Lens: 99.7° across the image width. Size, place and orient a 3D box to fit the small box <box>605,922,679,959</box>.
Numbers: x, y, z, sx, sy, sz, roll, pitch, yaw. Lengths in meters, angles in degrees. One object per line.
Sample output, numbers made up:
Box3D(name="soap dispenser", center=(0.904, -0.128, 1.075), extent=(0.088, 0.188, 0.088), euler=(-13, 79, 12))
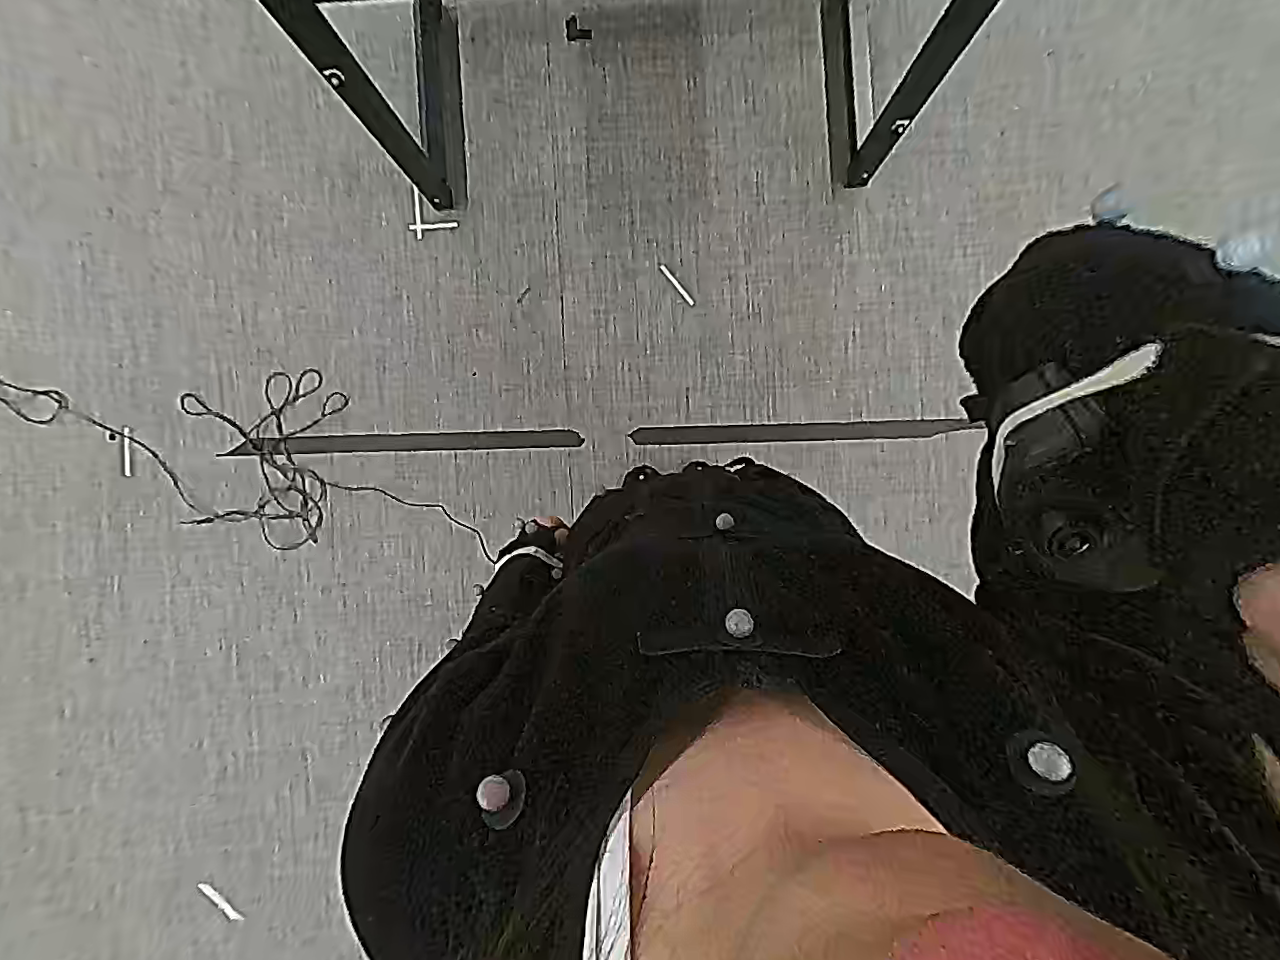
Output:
Box3D(name="small box", center=(0.011, 1.186, 1.268), extent=(0.179, 0.176, 0.168), euler=(-7, 91, 1))
